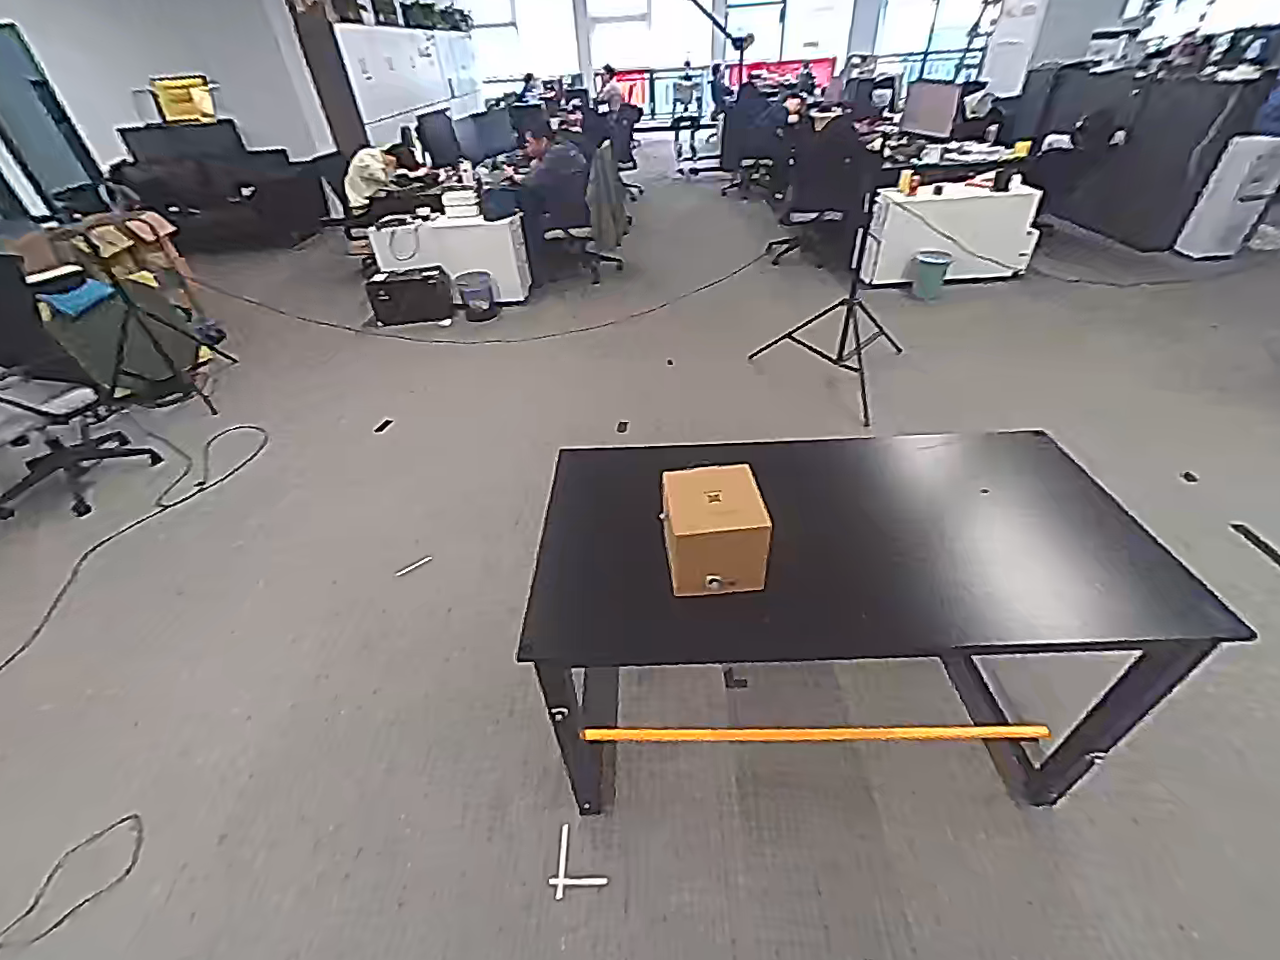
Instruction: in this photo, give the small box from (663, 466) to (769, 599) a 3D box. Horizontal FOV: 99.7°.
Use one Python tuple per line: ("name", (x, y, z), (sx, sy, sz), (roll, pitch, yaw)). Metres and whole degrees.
("small box", (0.133, 0.098, 1.014), (0.168, 0.176, 0.179), (-7, 40, -2))
